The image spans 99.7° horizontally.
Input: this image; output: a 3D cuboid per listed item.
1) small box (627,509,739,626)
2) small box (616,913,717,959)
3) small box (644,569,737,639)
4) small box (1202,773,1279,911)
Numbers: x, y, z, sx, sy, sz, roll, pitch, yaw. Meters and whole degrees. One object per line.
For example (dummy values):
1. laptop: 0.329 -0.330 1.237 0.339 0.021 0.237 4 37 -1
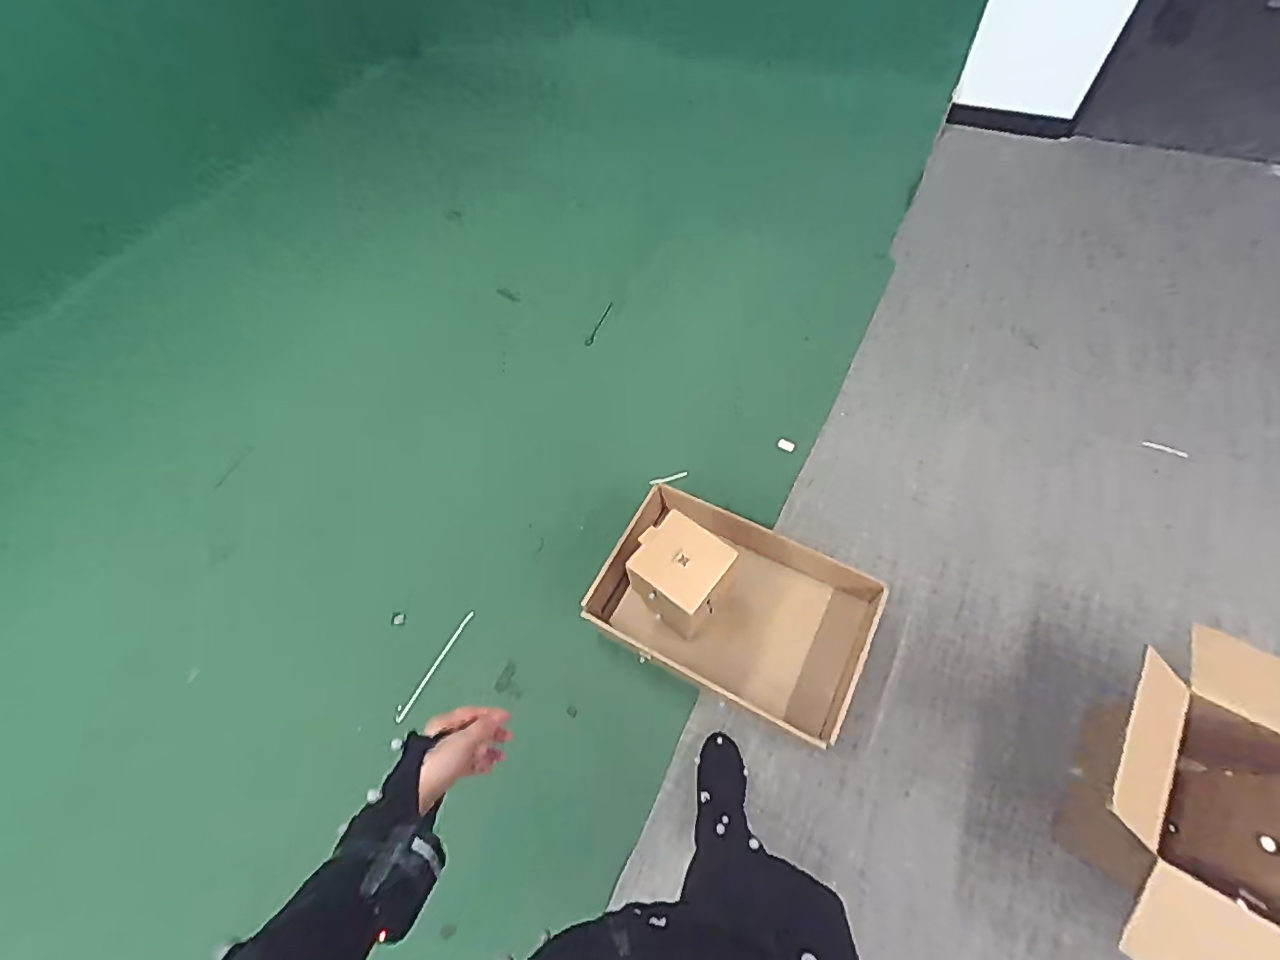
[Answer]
1. small box: 0.094 0.200 1.187 0.179 0.176 0.168 34 68 21
2. small box: 0.049 0.945 0.986 0.176 0.168 0.179 47 42 11
3. small box: 0.115 0.262 1.337 0.168 0.176 0.179 39 71 23
4. small box: 1.089 0.609 0.880 0.168 0.176 0.179 34 70 18
